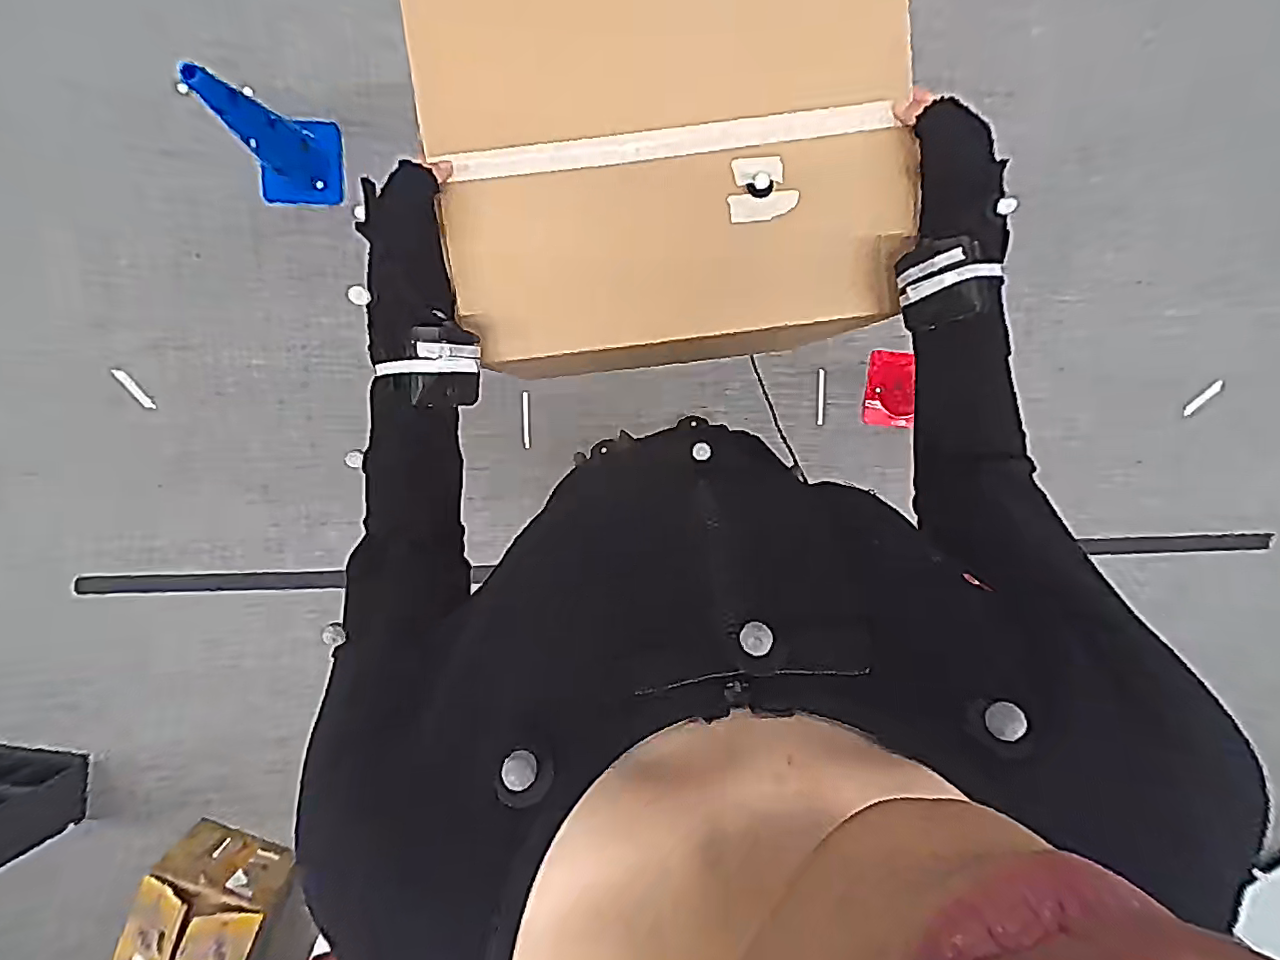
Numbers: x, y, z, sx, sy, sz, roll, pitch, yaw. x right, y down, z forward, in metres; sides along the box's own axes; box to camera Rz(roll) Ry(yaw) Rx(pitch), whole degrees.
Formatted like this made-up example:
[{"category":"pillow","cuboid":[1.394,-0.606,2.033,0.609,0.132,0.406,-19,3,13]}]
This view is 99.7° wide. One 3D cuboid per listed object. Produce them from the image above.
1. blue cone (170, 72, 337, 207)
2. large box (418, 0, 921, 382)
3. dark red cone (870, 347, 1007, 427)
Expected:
[{"category":"blue cone","cuboid":[-0.858,-0.770,1.199,0.192,0.380,0.193,2,96,-1]},{"category":"large box","cuboid":[0.027,-0.297,0.603,0.408,0.320,0.320,-7,98,-2]},{"category":"dark red cone","cuboid":[0.720,-0.228,1.278,0.201,0.394,0.202,5,96,-2]}]
